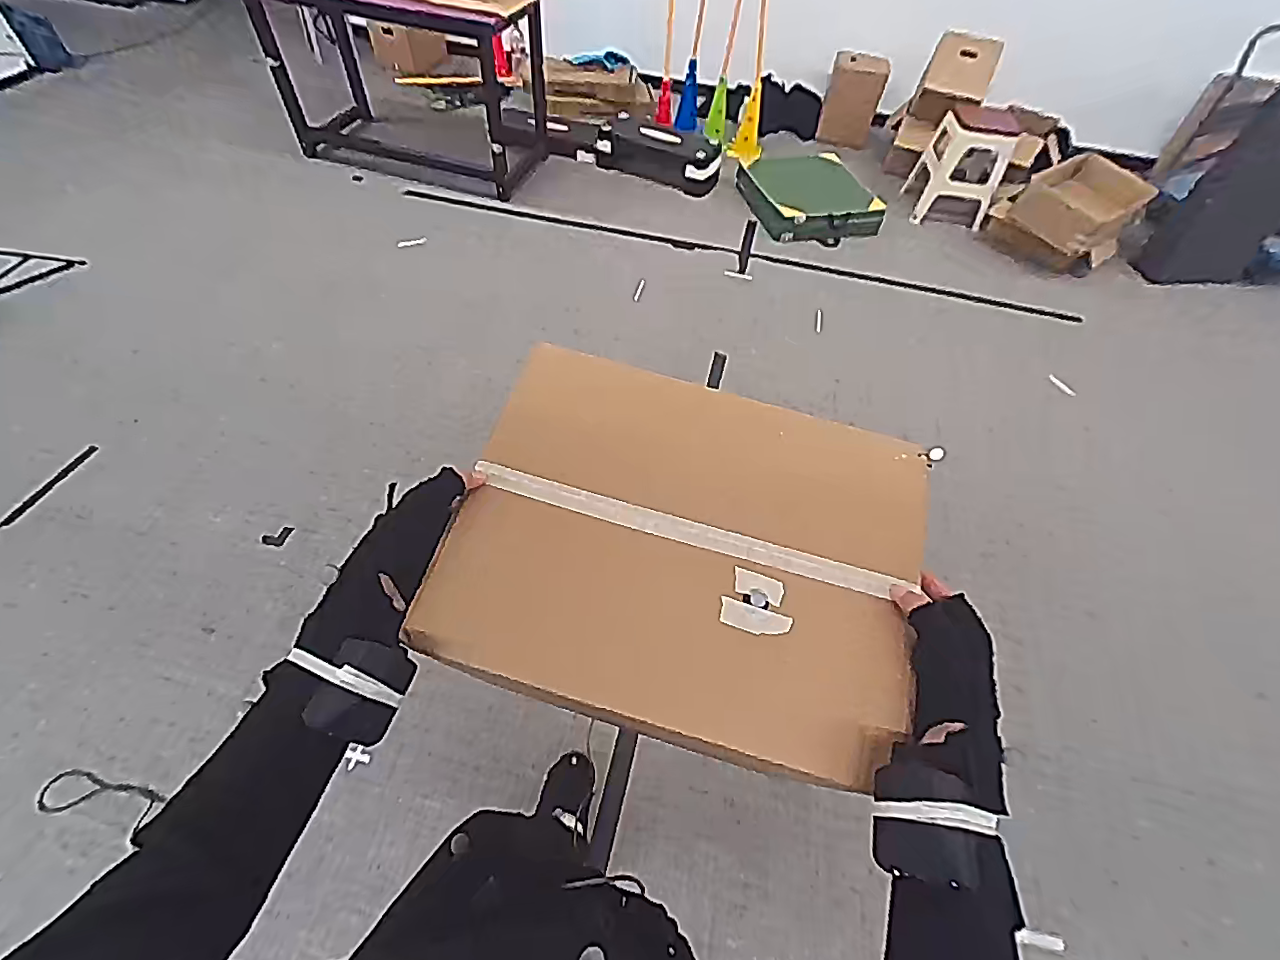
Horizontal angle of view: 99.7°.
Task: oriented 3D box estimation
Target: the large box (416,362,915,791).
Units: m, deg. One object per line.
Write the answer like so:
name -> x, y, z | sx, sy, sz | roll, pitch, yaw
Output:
large box -> 0.034, 0.121, 0.620 | 0.408, 0.320, 0.320 | 16, 65, 3
